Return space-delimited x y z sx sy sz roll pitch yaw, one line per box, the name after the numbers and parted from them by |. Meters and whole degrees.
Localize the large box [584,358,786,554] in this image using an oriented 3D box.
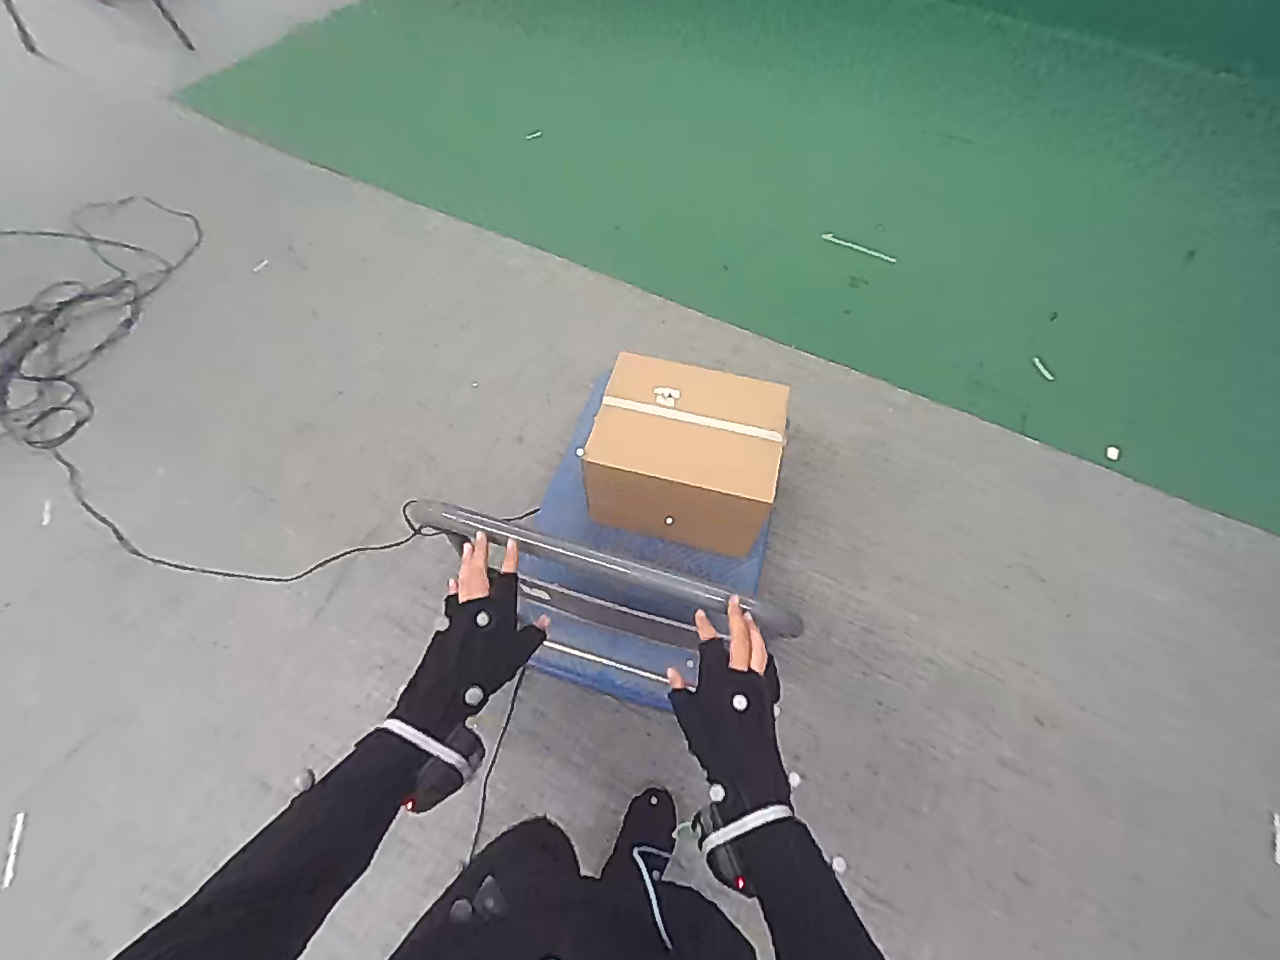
0.110 -0.048 1.311 0.408 0.320 0.320 12 60 7 | large box
